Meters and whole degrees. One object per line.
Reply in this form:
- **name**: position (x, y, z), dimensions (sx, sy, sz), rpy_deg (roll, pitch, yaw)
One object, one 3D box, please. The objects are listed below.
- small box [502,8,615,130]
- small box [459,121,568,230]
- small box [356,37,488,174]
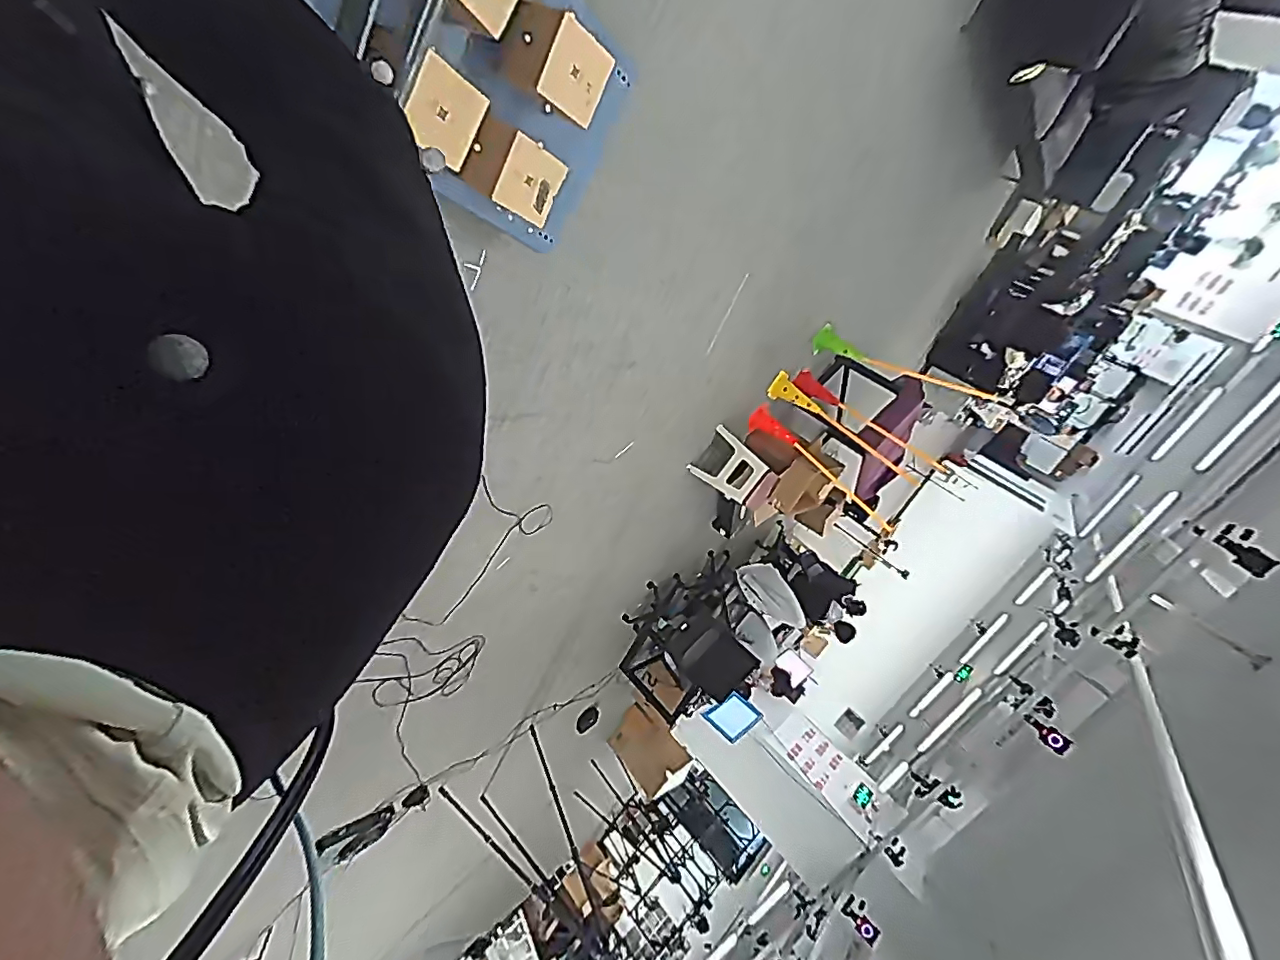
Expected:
- **small box**: position (-0.202, -0.989, 1.301), dimensions (0.179, 0.176, 0.168), rpy_deg (1, 124, -54)
- **small box**: position (-0.325, -0.778, 1.381), dimensions (0.179, 0.176, 0.168), rpy_deg (5, 120, -54)
- **small box**: position (-0.468, -0.803, 1.160), dimensions (0.179, 0.176, 0.168), rpy_deg (9, 117, -56)
